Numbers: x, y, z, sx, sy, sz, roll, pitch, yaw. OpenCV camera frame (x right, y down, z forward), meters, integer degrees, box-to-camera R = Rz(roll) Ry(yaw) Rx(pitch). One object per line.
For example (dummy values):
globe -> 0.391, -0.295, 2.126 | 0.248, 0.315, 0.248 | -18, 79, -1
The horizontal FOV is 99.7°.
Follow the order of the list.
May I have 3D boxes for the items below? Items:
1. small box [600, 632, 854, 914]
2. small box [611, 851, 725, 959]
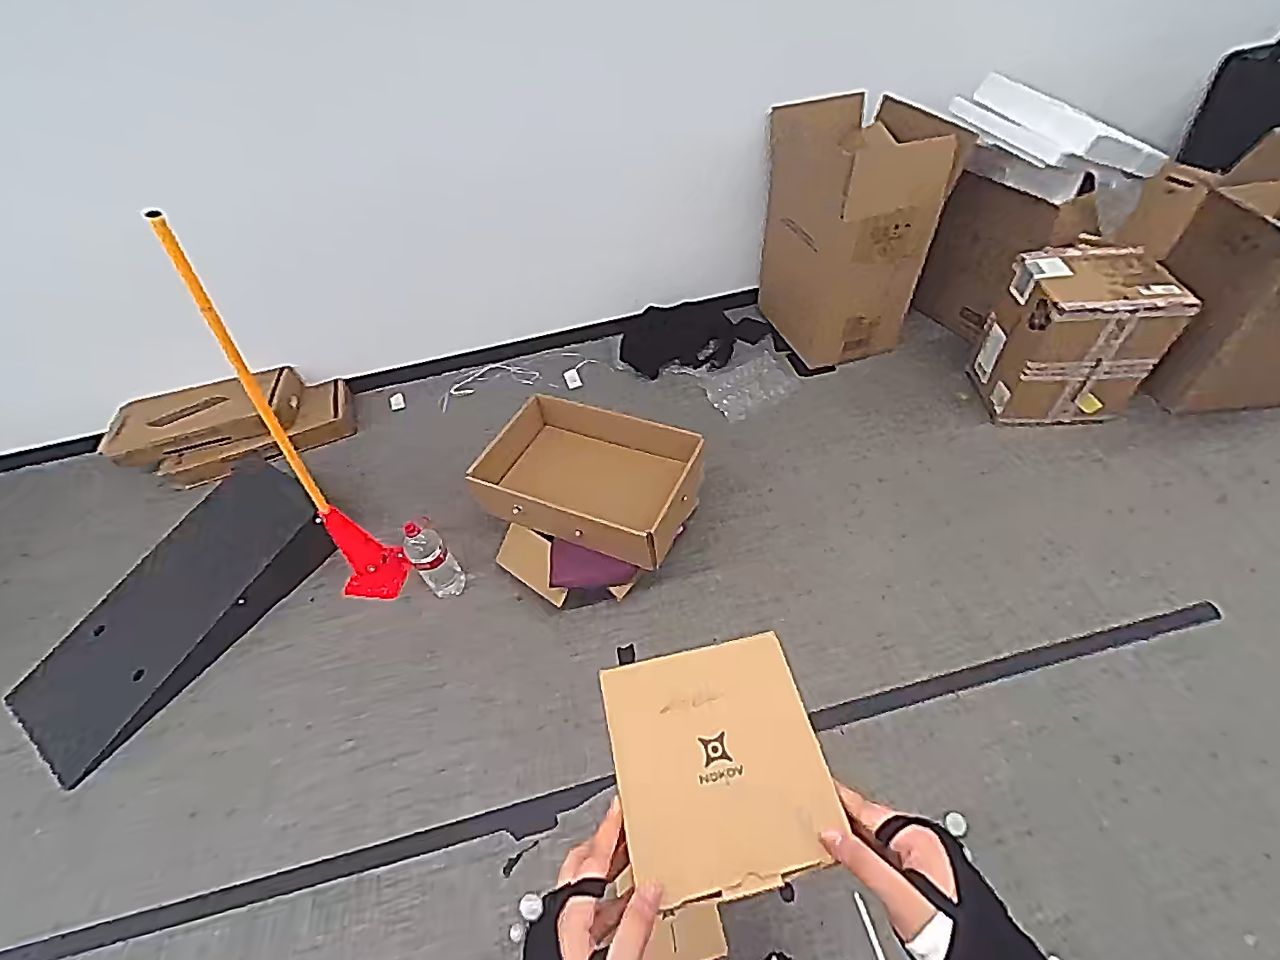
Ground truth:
small box -> 0.064, 0.269, 0.498 | 0.168, 0.176, 0.179 | -11, 52, -7
small box -> 0.049, 0.777, 0.984 | 0.168, 0.176, 0.179 | -13, 50, -4
